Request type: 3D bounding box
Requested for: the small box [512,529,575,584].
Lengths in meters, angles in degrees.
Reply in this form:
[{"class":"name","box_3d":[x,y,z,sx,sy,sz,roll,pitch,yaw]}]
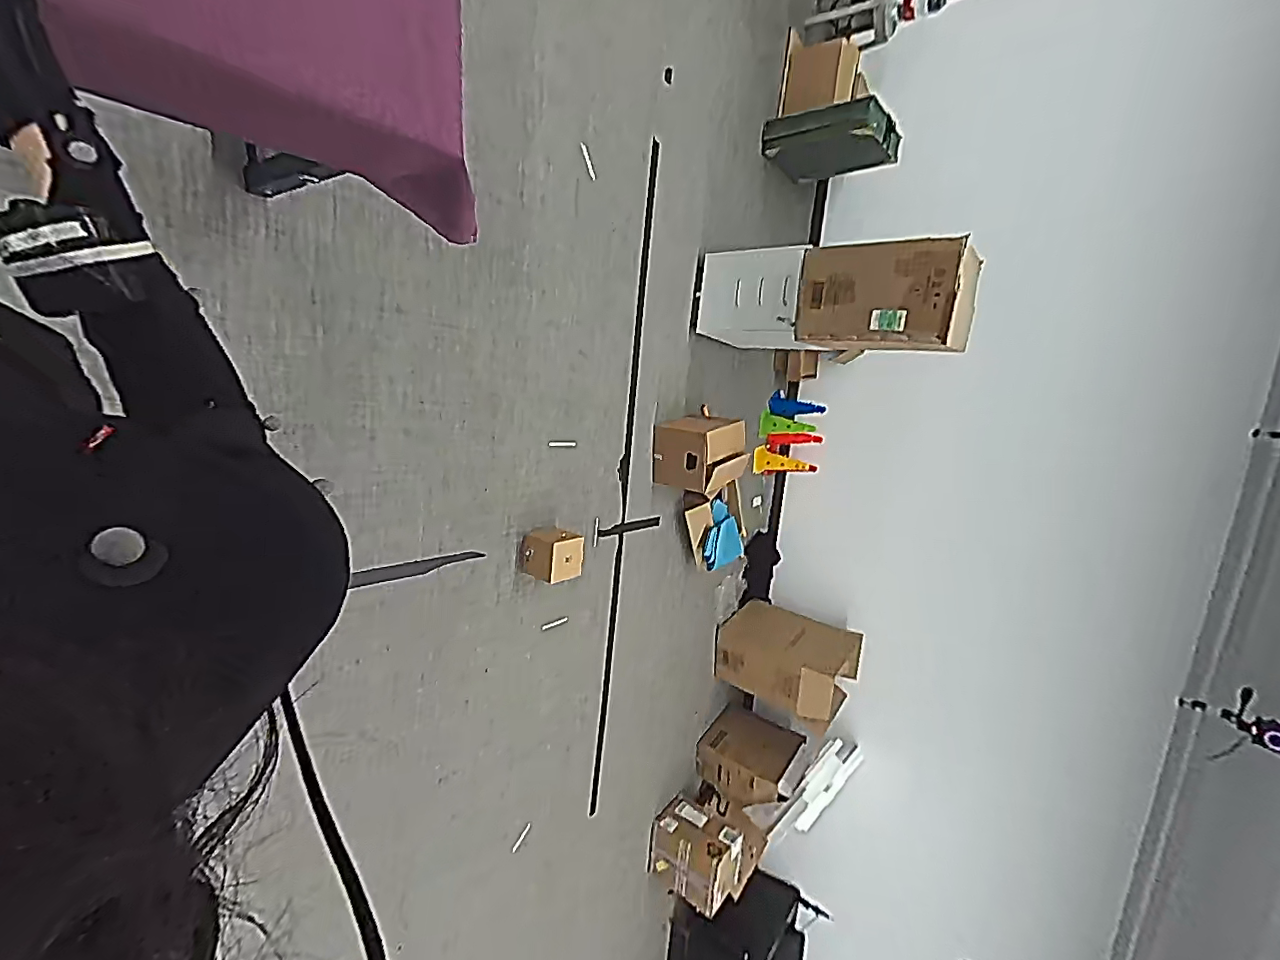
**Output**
[{"class":"small box","box_3d":[-0.387,0.299,2.161,0.179,0.176,0.168,-5,104,-54]}]
